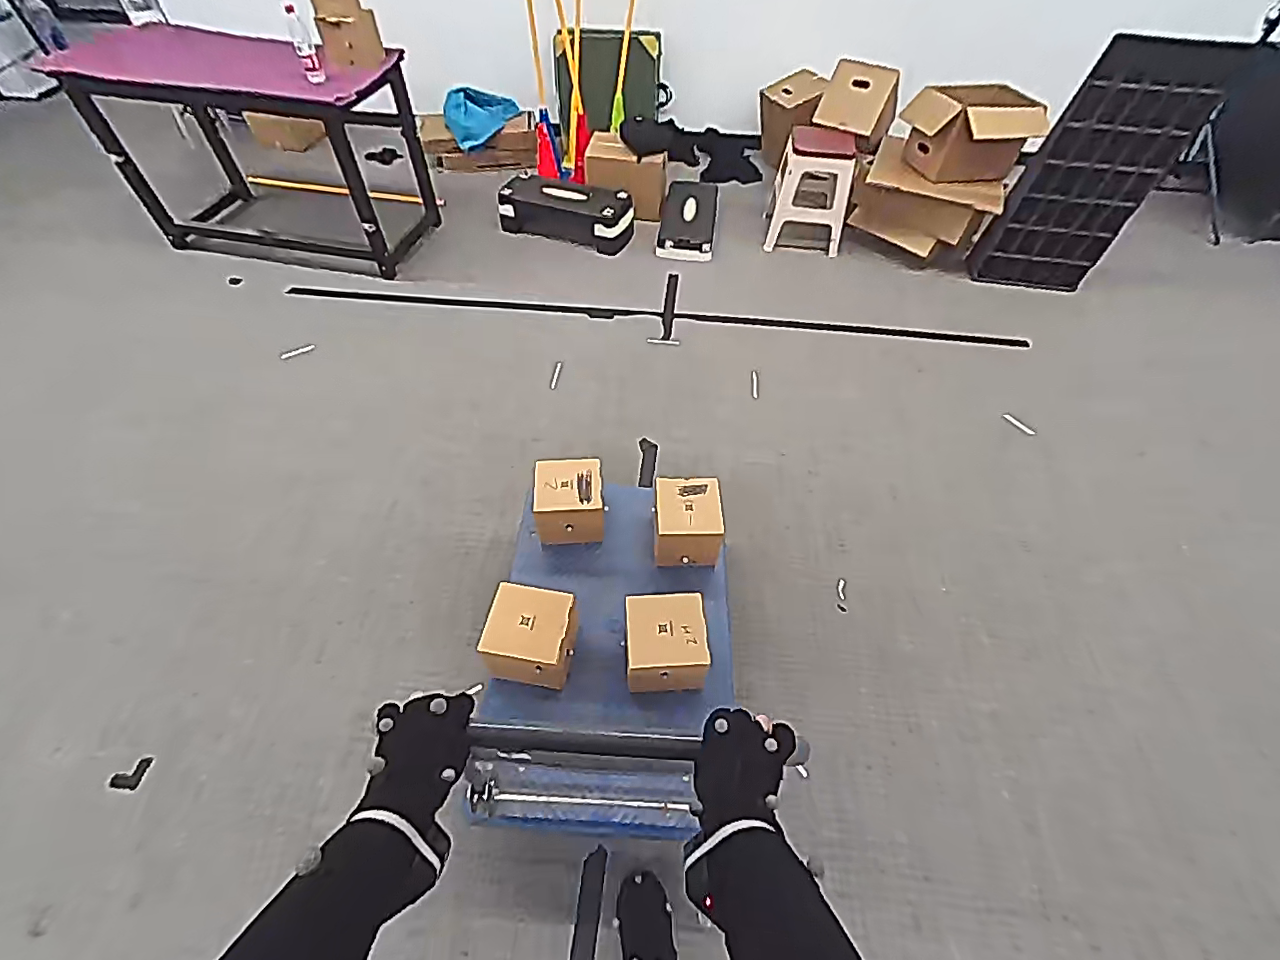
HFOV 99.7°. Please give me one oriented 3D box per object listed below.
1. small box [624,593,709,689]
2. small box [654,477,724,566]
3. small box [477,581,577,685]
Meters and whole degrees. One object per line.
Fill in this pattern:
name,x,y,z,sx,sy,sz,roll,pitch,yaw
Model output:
small box,0.055,0.372,1.237,0.179,0.176,0.168,-2,53,-3
small box,0.124,0.111,1.440,0.168,0.176,0.179,0,54,-1
small box,-0.250,0.355,1.240,0.179,0.176,0.168,9,52,3
